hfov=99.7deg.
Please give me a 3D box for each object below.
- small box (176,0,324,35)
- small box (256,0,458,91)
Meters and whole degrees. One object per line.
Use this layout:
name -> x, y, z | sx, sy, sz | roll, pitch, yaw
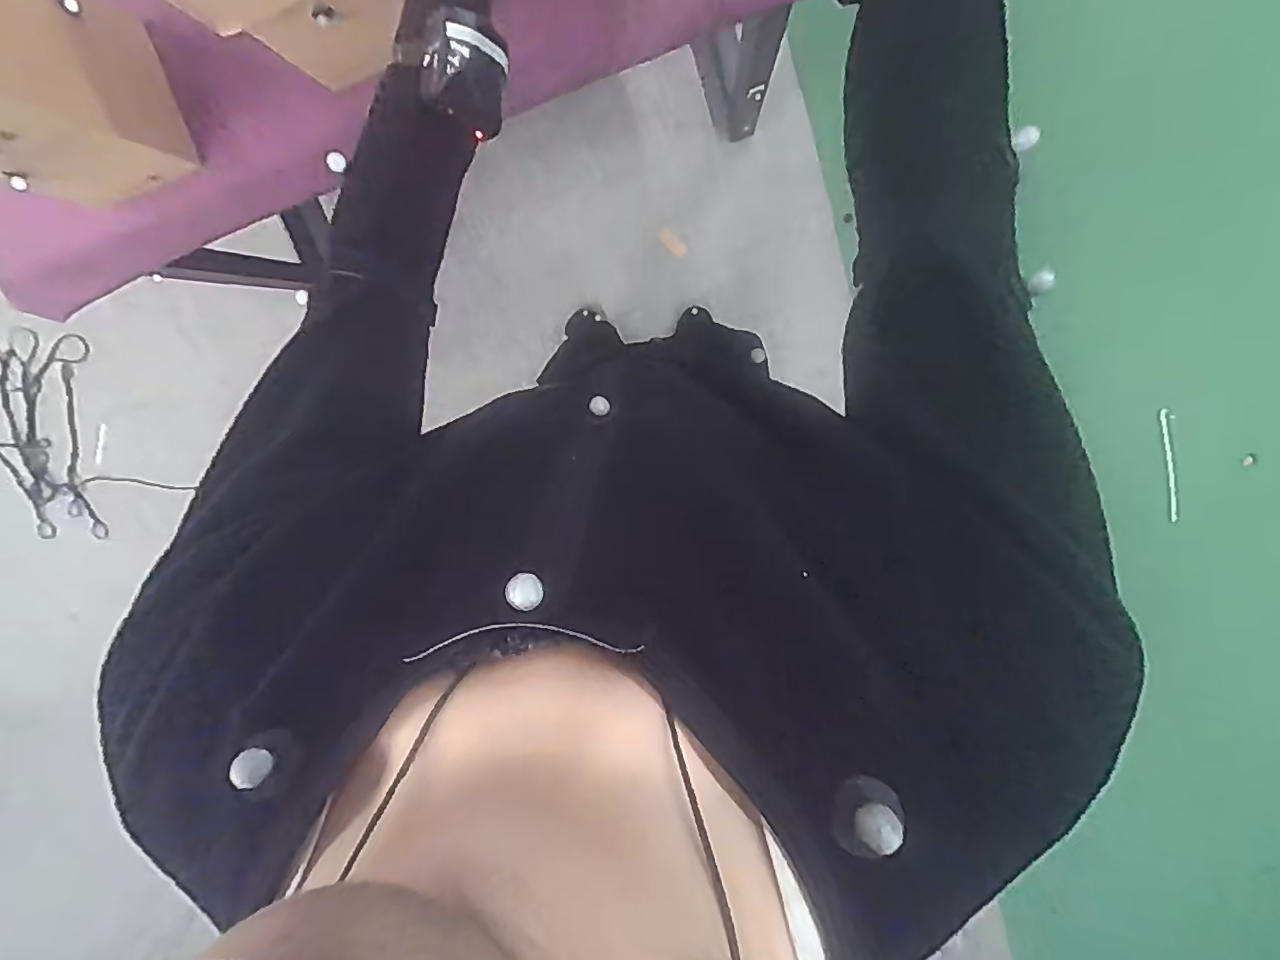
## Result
small box -> -0.342, -0.495, 0.411 | 0.179, 0.176, 0.168 | -15, 102, 10
small box -> -0.323, -0.551, 0.565 | 0.179, 0.176, 0.168 | -14, 102, 7
